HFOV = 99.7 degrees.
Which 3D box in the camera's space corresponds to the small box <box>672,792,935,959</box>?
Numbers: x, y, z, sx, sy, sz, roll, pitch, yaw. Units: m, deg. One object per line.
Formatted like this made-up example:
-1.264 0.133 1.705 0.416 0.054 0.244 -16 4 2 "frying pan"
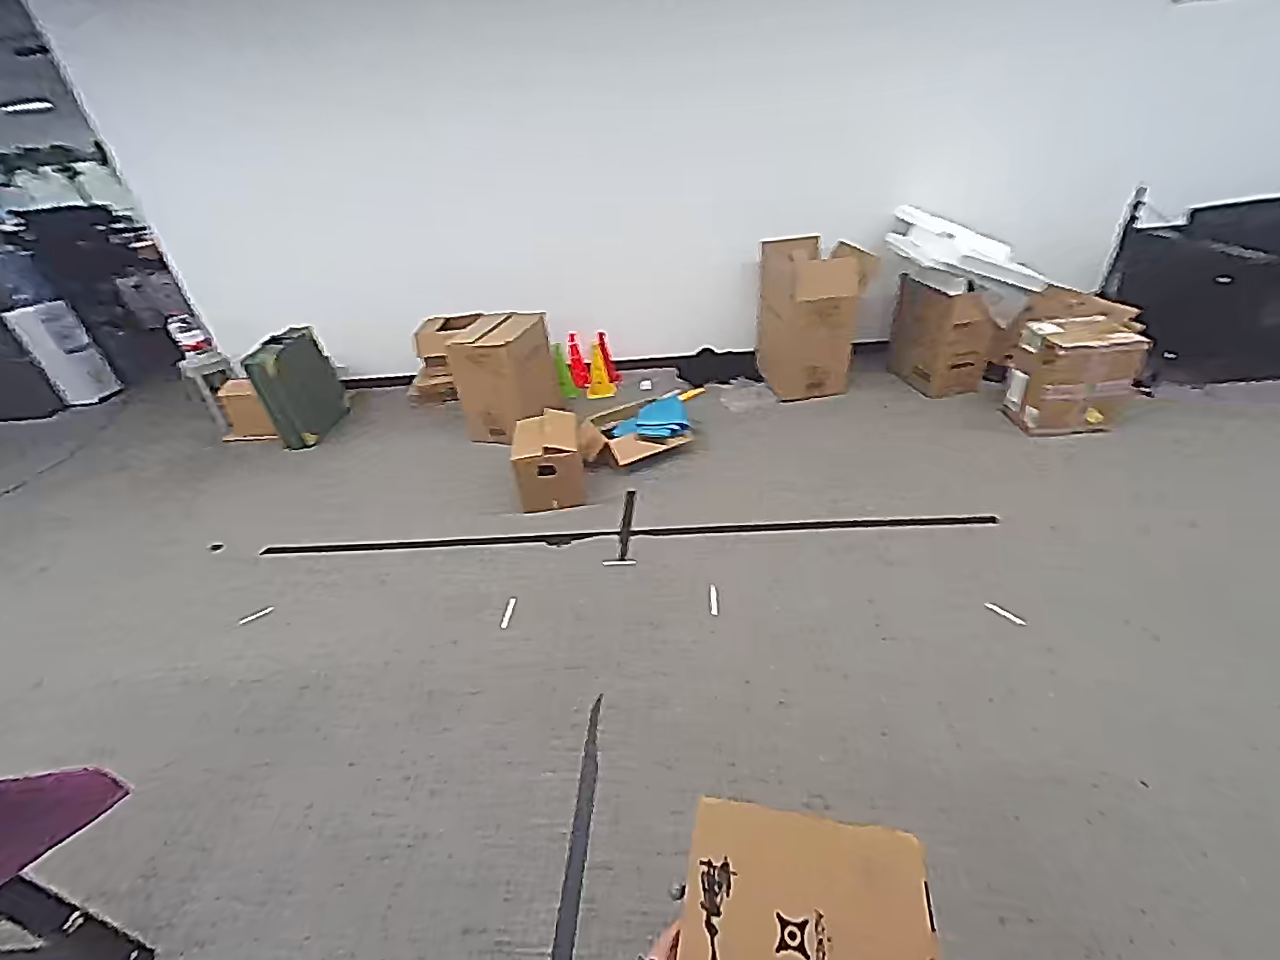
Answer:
0.119 0.381 0.424 0.179 0.176 0.168 2 37 13 "small box"
